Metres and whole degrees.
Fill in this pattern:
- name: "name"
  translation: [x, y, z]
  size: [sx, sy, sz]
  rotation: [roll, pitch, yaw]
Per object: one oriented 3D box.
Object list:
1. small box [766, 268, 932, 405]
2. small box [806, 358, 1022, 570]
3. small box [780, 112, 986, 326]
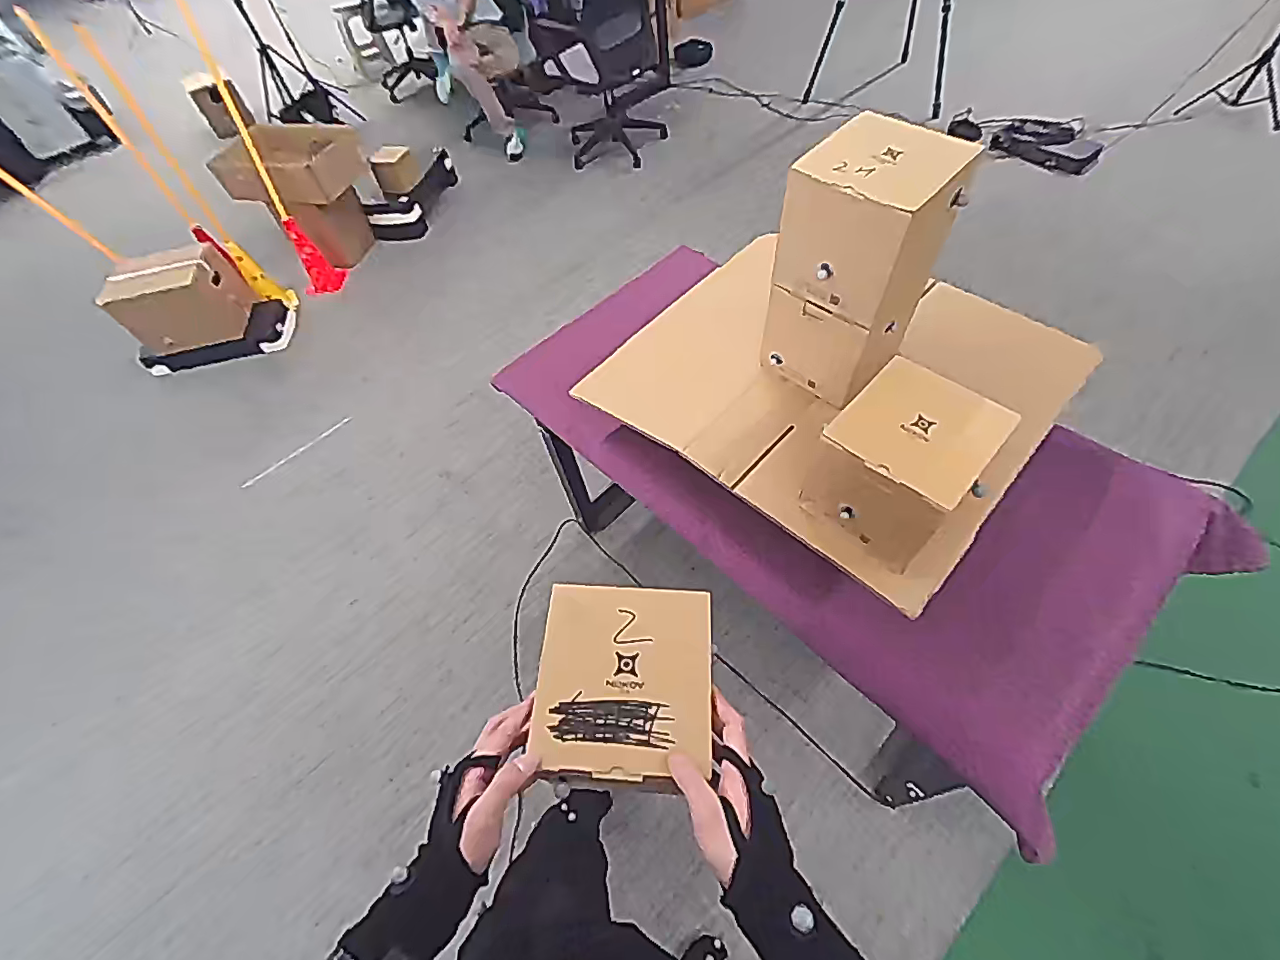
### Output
- name: "small box"
  translation: [0.315, -0.252, 0.855]
  size: [0.168, 0.176, 0.179]
  rotation: [38, 67, 24]
- name: "small box"
  translation: [0.338, -0.017, 0.705]
  size: [0.168, 0.176, 0.179]
  rotation: [38, 68, 25]
- name: "small box"
  translation: [0.305, -0.342, 0.718]
  size: [0.168, 0.176, 0.179]
  rotation: [38, 68, 25]
